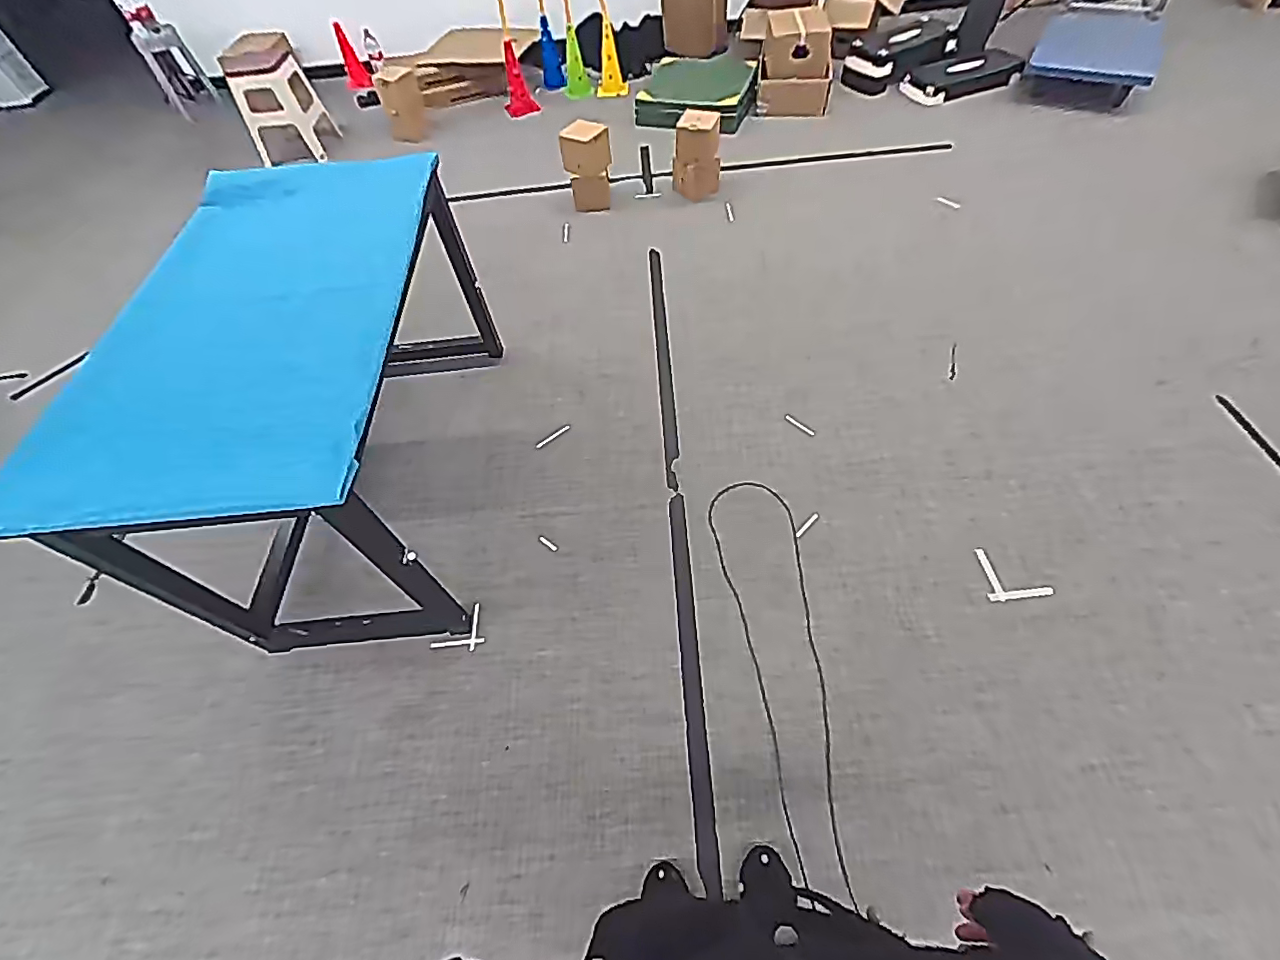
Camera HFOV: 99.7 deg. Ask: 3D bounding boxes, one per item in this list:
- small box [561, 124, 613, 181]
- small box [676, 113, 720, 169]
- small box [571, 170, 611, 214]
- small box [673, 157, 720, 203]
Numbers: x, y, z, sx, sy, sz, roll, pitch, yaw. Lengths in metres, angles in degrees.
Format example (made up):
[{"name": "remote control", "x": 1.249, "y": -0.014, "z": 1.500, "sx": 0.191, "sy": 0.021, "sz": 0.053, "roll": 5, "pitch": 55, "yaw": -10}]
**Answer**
[{"name": "small box", "x": -0.253, "y": -1.564, "z": 2.576, "sx": 0.179, "sy": 0.176, "sz": 0.168, "roll": 27, "pitch": 62, "yaw": 22}, {"name": "small box", "x": 0.277, "y": -1.606, "z": 2.563, "sx": 0.168, "sy": 0.176, "sz": 0.179, "roll": 16, "pitch": 58, "yaw": 13}, {"name": "small box", "x": -0.240, "y": -1.459, "z": 2.706, "sx": 0.179, "sy": 0.176, "sz": 0.168, "roll": -4, "pitch": 55, "yaw": 4}, {"name": "small box", "x": 0.282, "y": -1.523, "z": 2.704, "sx": 0.179, "sy": 0.176, "sz": 0.168, "roll": -30, "pitch": 60, "yaw": -15}]
